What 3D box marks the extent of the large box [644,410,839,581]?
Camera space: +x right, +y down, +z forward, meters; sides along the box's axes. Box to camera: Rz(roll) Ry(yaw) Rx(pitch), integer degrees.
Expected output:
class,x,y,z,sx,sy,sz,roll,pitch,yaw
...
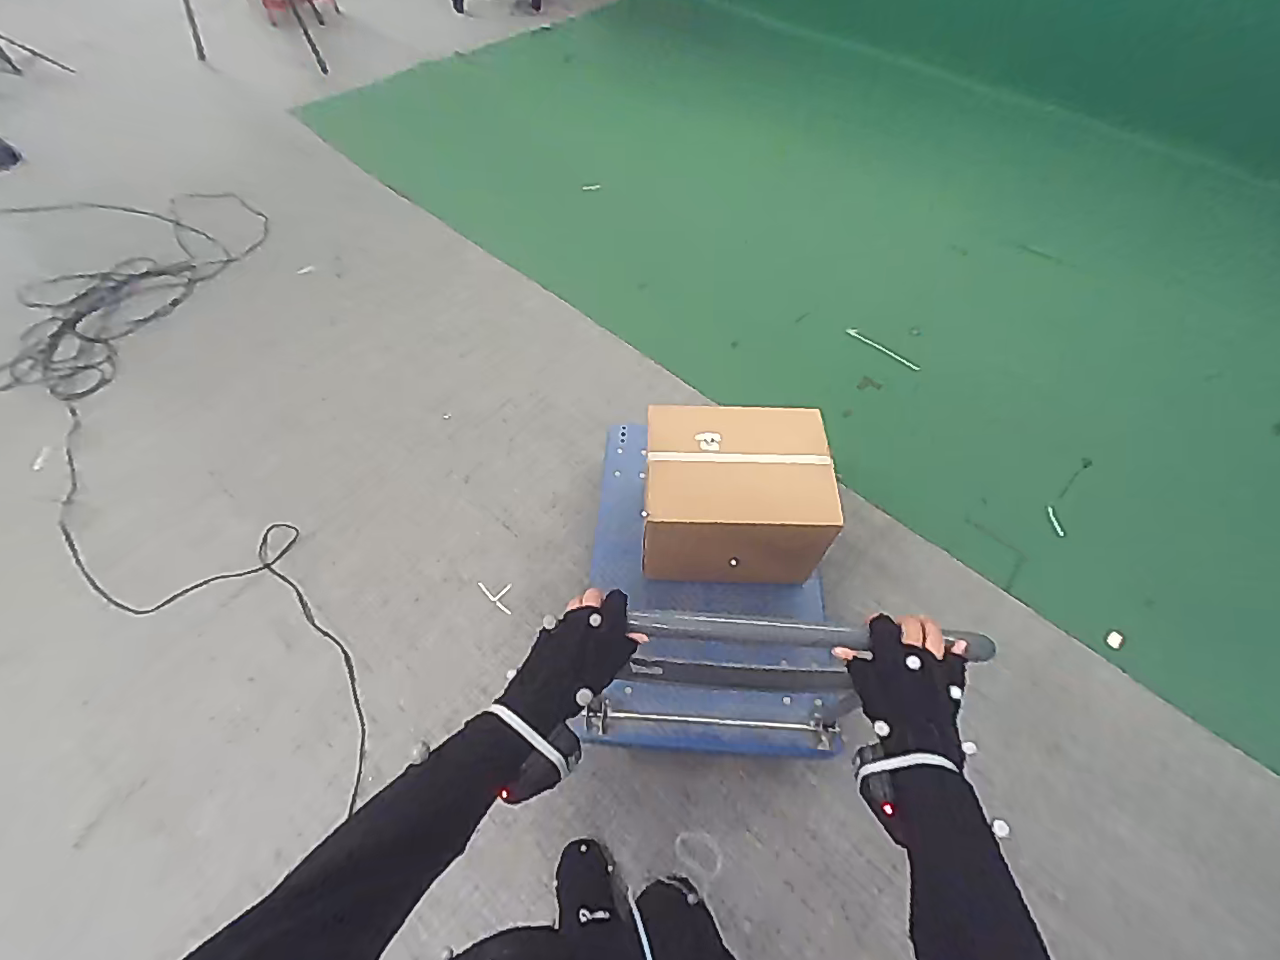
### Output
class,x,y,z,sx,sy,sz,roll,pitch,yaw
large box,0.213,0.046,1.314,0.408,0.320,0.320,0,56,0
